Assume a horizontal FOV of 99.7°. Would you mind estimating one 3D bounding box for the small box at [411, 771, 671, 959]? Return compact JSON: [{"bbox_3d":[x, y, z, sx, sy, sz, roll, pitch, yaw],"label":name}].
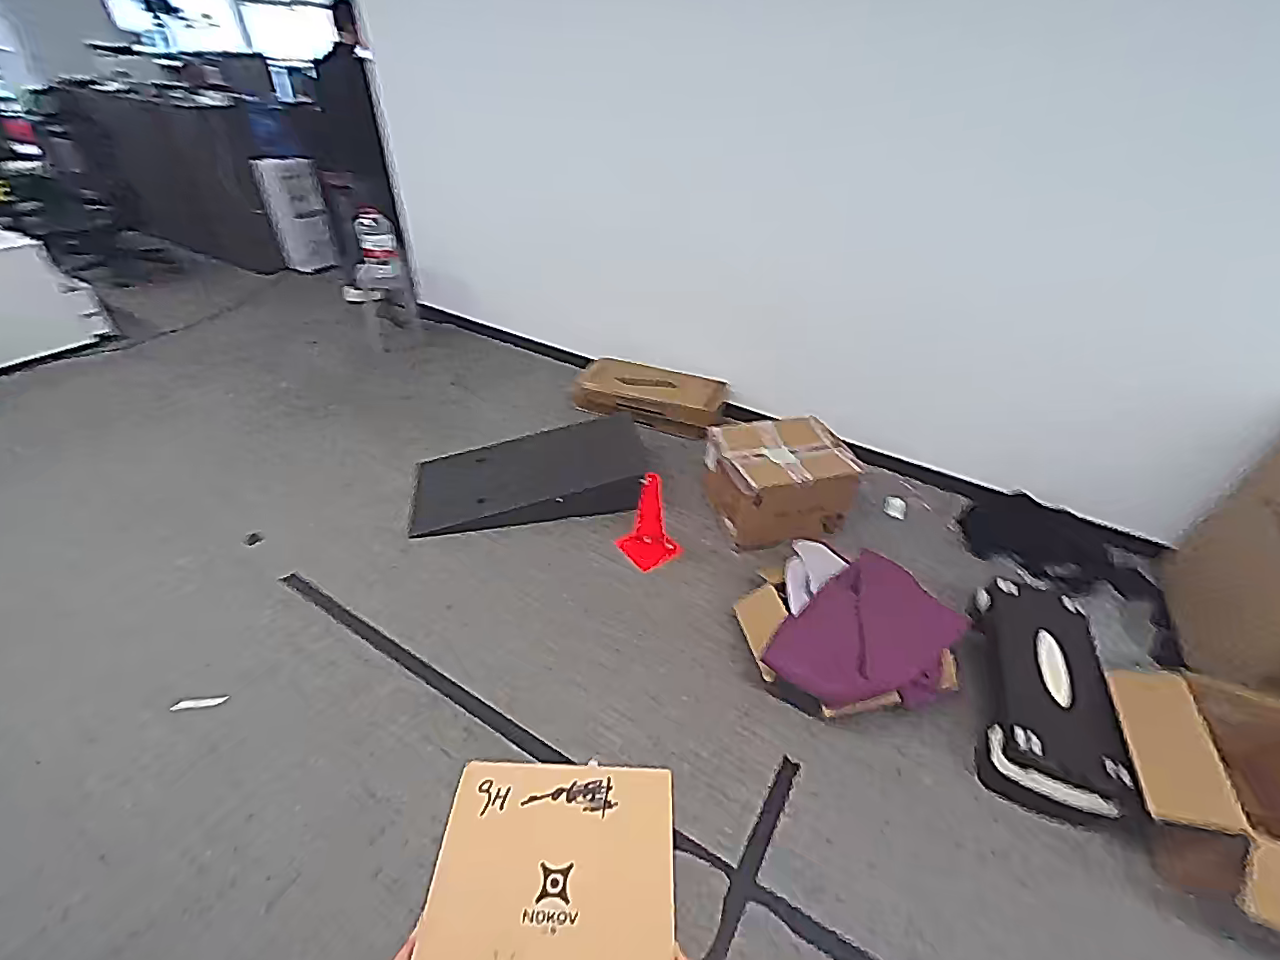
[{"bbox_3d":[-0.060,0.344,0.405,0.168,0.176,0.179,0,39,0],"label":"small box"}]
